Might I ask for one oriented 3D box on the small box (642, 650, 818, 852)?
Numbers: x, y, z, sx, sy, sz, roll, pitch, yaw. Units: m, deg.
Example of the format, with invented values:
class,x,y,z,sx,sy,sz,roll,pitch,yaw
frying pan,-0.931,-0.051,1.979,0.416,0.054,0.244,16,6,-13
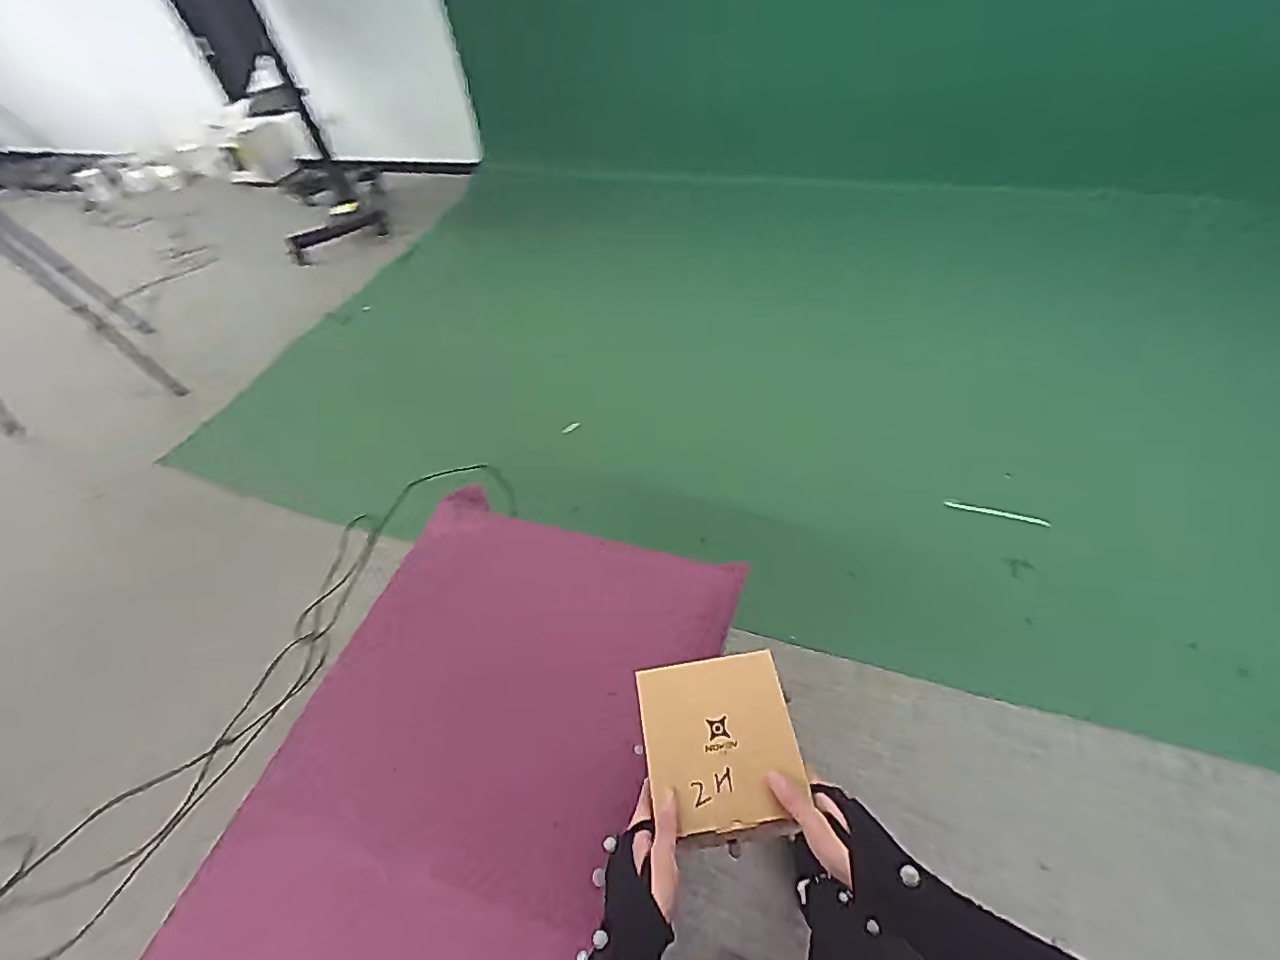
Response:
class,x,y,z,sx,sy,sz,roll,pitch,yaw
small box,0.098,0.330,0.655,0.168,0.176,0.179,-9,52,1
